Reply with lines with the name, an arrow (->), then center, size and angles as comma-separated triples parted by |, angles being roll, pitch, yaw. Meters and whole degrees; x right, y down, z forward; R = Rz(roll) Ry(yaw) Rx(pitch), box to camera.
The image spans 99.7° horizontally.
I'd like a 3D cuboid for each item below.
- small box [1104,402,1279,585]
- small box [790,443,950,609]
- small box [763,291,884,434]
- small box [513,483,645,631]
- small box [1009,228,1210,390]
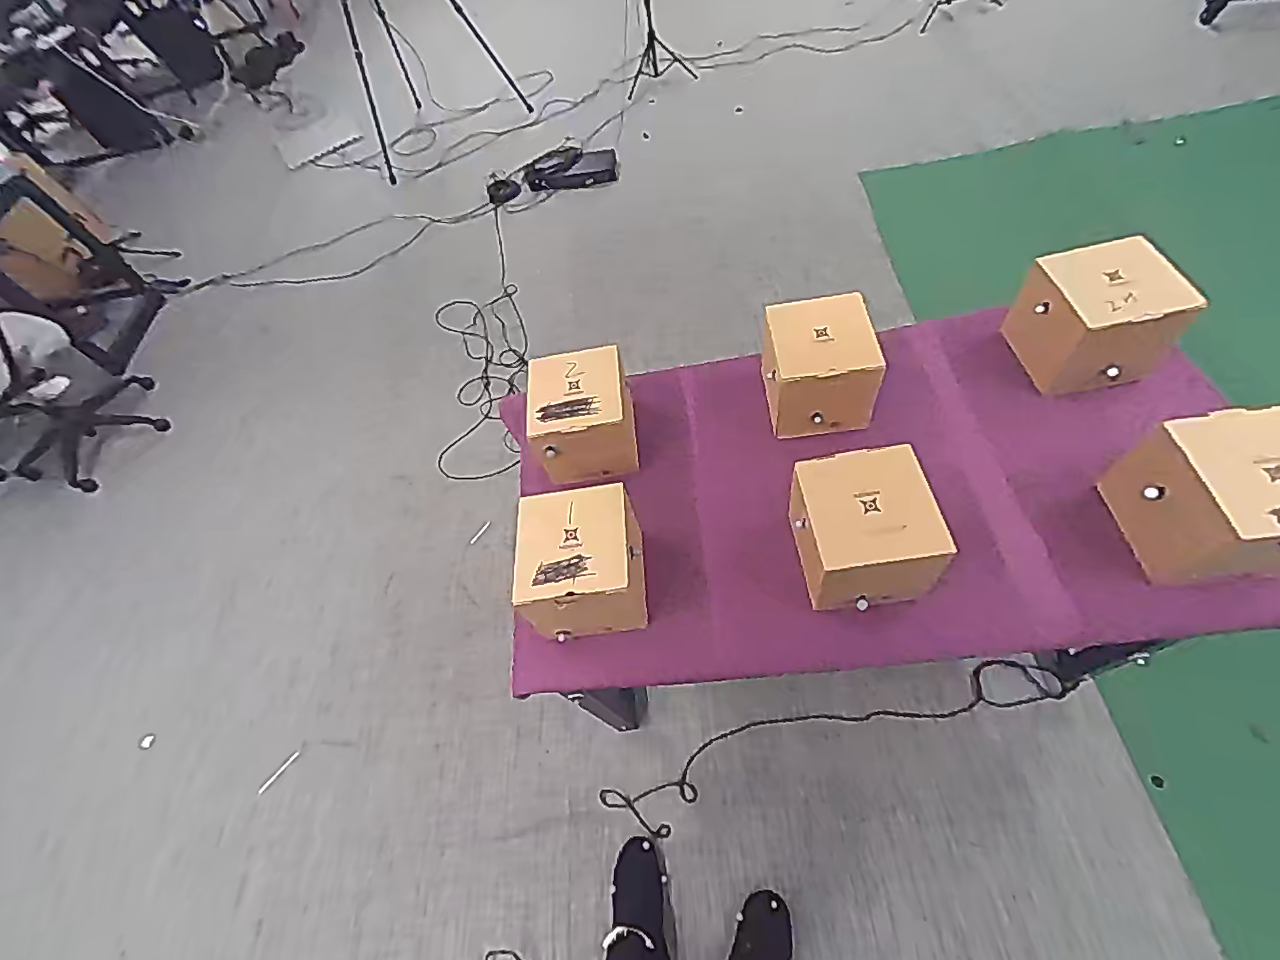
small box -> 0.780, 0.023, 0.720 | 0.168, 0.176, 0.179 | -9, 58, 9
small box -> 0.320, 0.073, 0.799 | 0.168, 0.176, 0.179 | -9, 57, 8
small box -> 0.315, -0.205, 0.969 | 0.168, 0.176, 0.179 | -7, 60, 8
small box -> -0.089, 0.130, 0.856 | 0.168, 0.176, 0.179 | -9, 56, 7
small box -> 0.760, -0.280, 0.906 | 0.168, 0.176, 0.179 | -11, 58, 9
